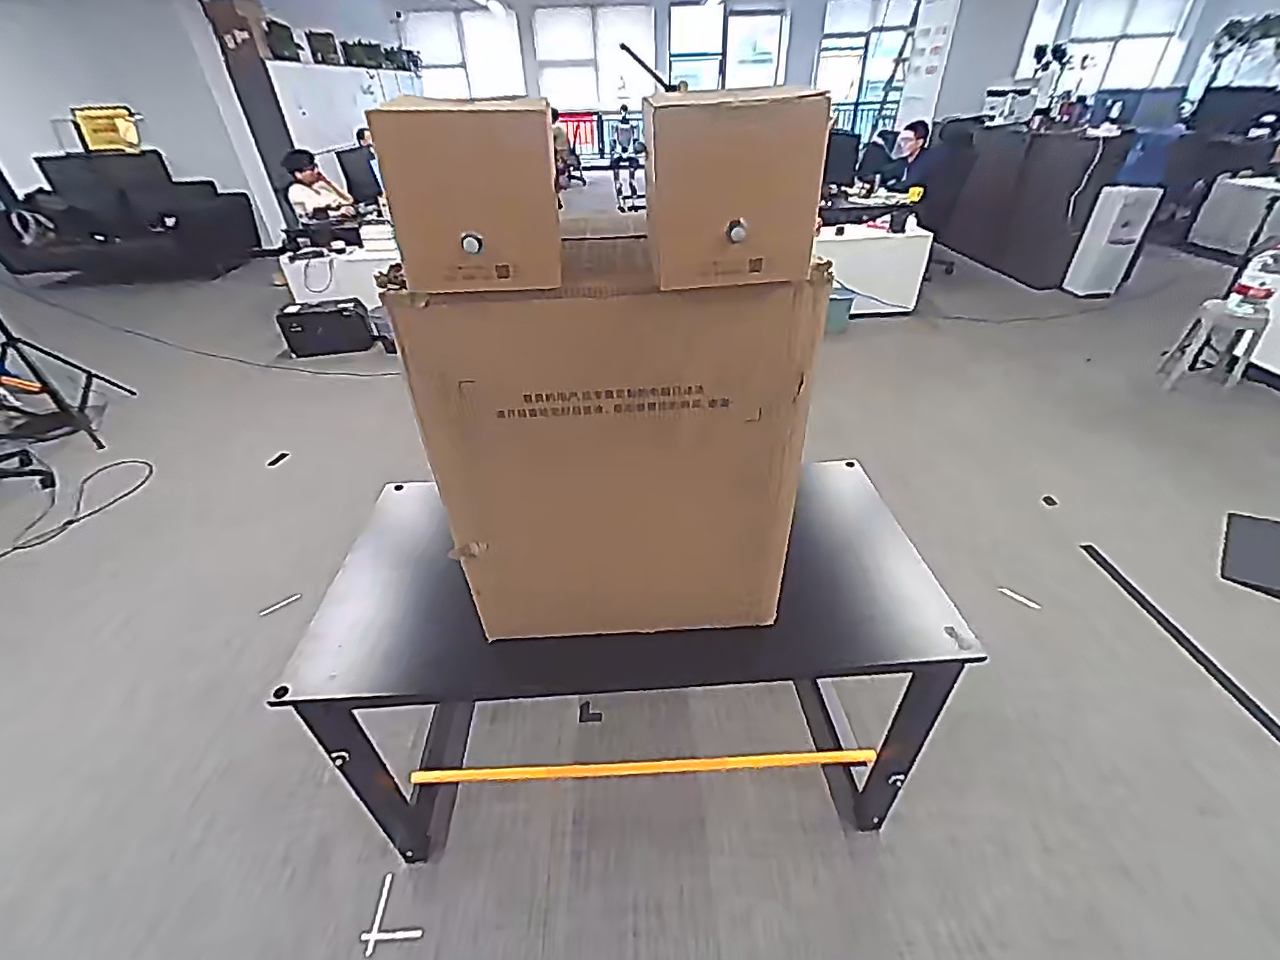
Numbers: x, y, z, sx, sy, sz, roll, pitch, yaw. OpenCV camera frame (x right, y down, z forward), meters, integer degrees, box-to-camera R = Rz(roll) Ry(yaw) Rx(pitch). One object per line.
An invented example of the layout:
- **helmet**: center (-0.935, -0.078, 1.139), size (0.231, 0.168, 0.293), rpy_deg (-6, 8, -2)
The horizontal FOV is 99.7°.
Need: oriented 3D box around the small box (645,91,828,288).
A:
- **small box**: center (0.092, -0.328, 0.609), size (0.168, 0.176, 0.179), rpy_deg (-5, 38, 0)
